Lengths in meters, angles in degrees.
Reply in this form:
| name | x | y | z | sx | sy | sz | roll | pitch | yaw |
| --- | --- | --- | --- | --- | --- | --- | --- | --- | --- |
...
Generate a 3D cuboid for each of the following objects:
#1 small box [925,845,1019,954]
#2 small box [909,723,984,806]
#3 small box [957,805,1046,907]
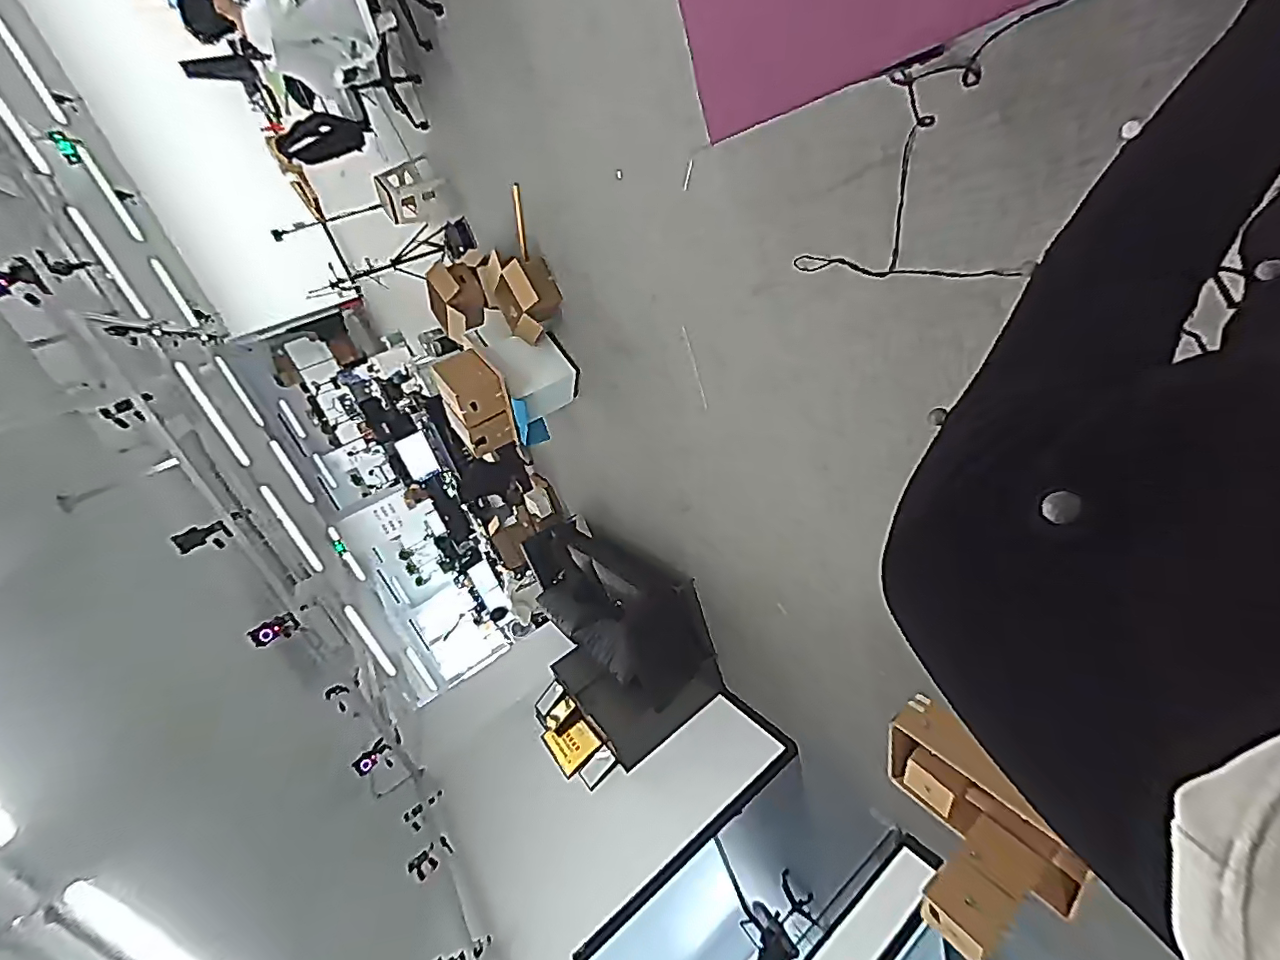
| name | x | y | z | sx | sy | sz | roll | pitch | yaw |
| --- | --- | --- | --- | --- | --- | --- | --- | --- | --- |
| small box | 0.984 | 1.236 | 1.612 | 0.179 | 0.176 | 0.168 | 30 | 143 | 51 |
| small box | 1.105 | 1.018 | 1.948 | 0.168 | 0.176 | 0.179 | 35 | 147 | 47 |
| small box | 1.116 | 1.163 | 1.677 | 0.179 | 0.176 | 0.168 | 33 | 146 | 50 |
